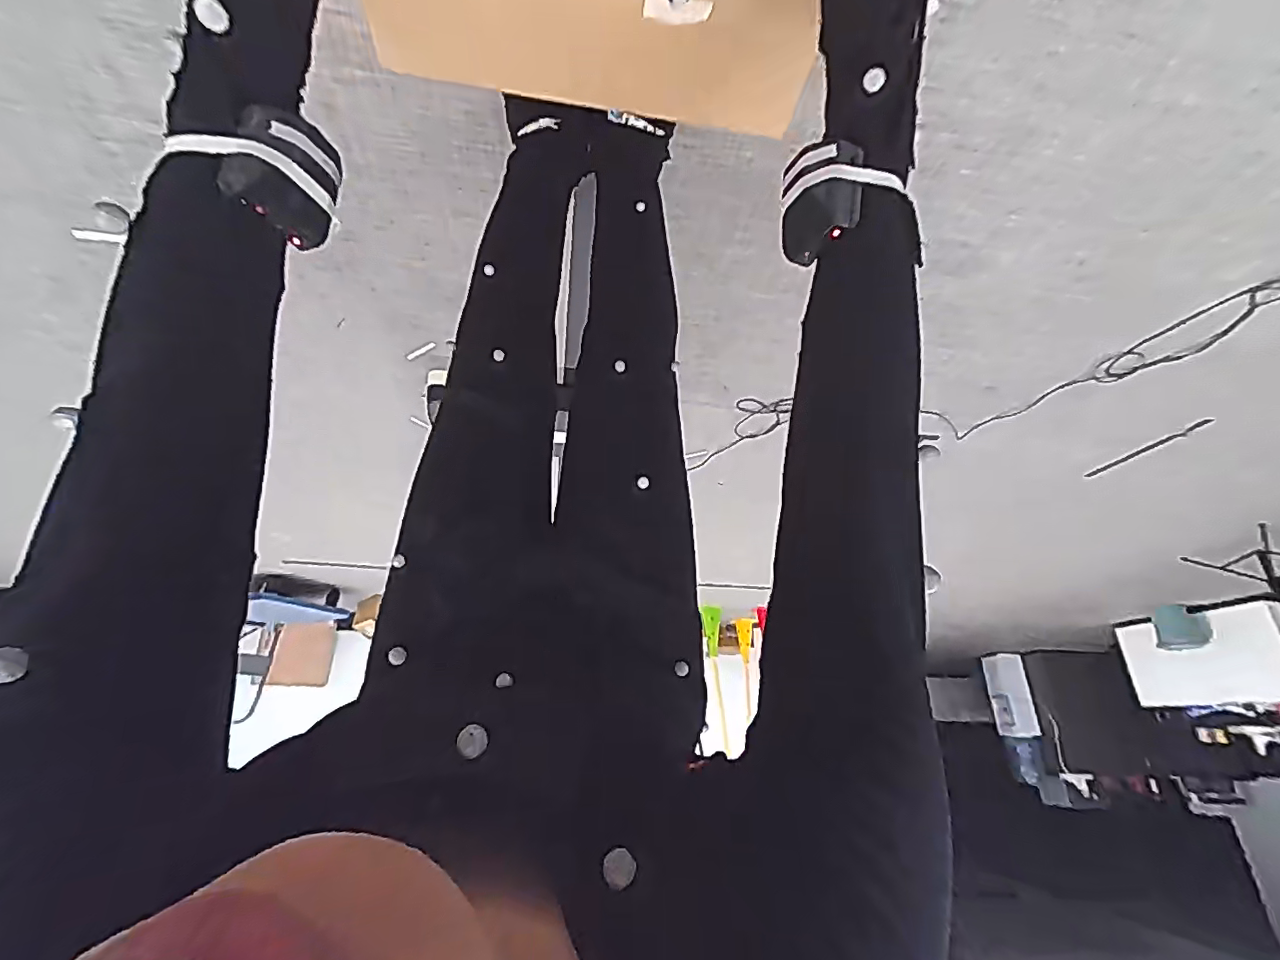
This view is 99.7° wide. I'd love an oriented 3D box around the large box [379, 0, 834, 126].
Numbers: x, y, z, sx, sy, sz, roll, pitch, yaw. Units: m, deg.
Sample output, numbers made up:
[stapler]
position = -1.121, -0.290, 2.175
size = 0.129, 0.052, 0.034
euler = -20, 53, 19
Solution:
[large box]
position = -0.022, -0.582, 0.473
size = 0.408, 0.320, 0.320
euler = 4, 157, -8
